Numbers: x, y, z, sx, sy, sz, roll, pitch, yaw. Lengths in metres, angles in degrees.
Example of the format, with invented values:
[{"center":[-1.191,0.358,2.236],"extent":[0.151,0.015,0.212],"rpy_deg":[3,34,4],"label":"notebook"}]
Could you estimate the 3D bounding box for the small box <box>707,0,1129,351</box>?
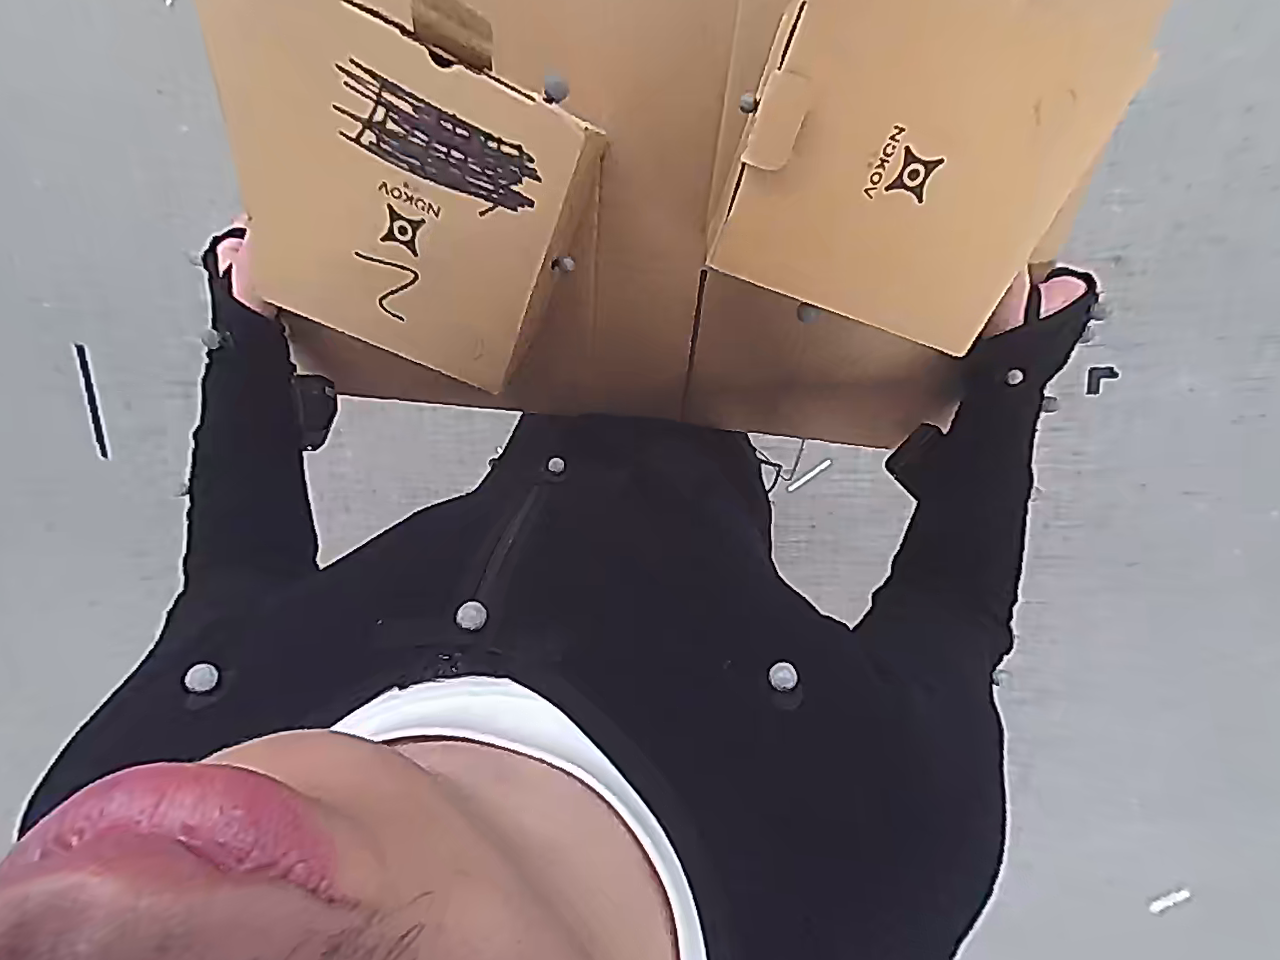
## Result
[{"center":[0.160,-0.217,0.383],"extent":[0.179,0.176,0.168],"rpy_deg":[19,121,-2],"label":"small box"}]
